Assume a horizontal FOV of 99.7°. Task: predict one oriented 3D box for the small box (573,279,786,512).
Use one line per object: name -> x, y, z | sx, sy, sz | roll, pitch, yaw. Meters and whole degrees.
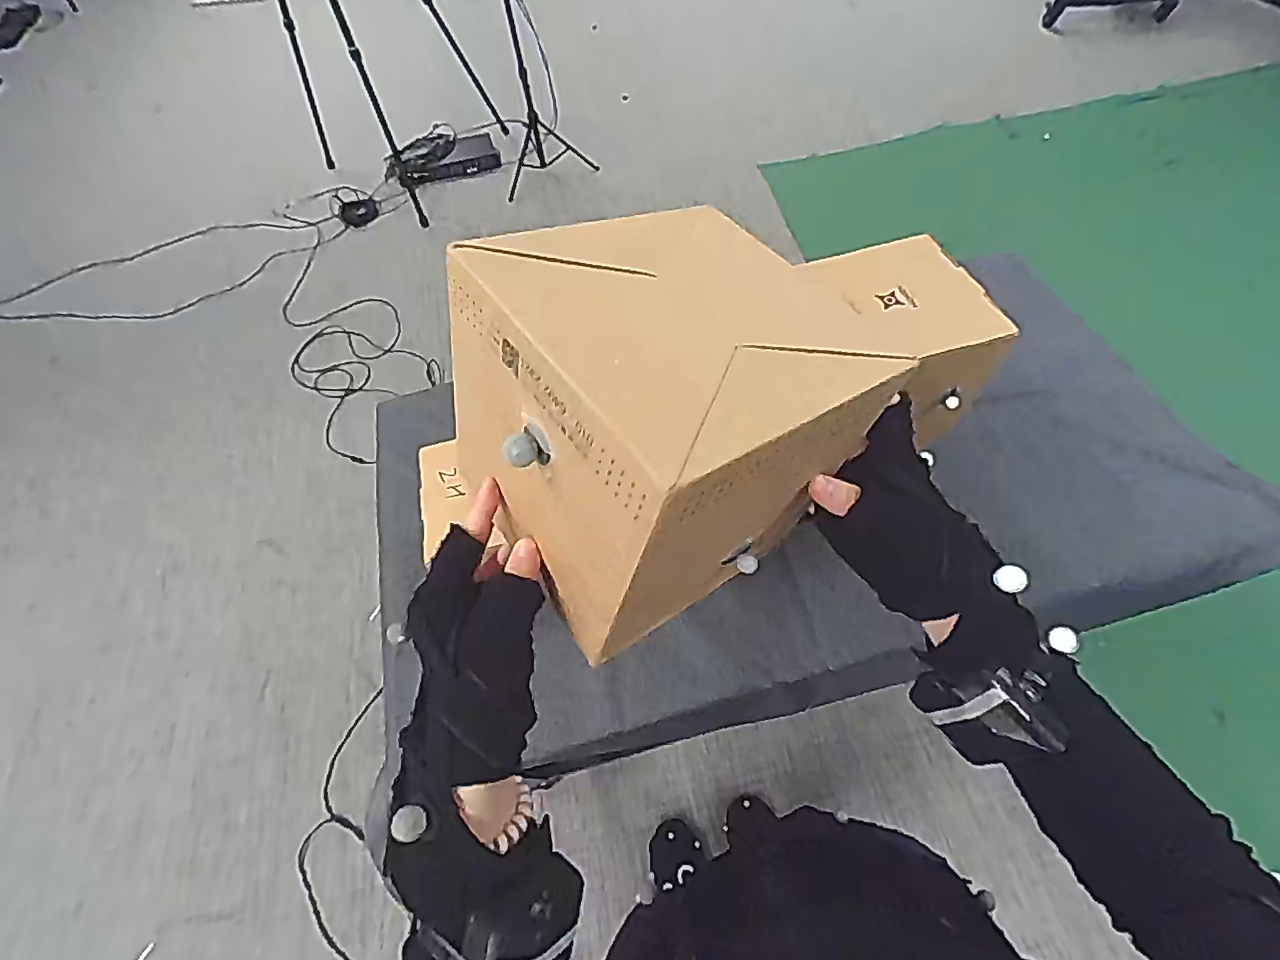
small box -> 0.041, -0.087, 0.609 | 0.179, 0.176, 0.168 | -19, 60, -5
